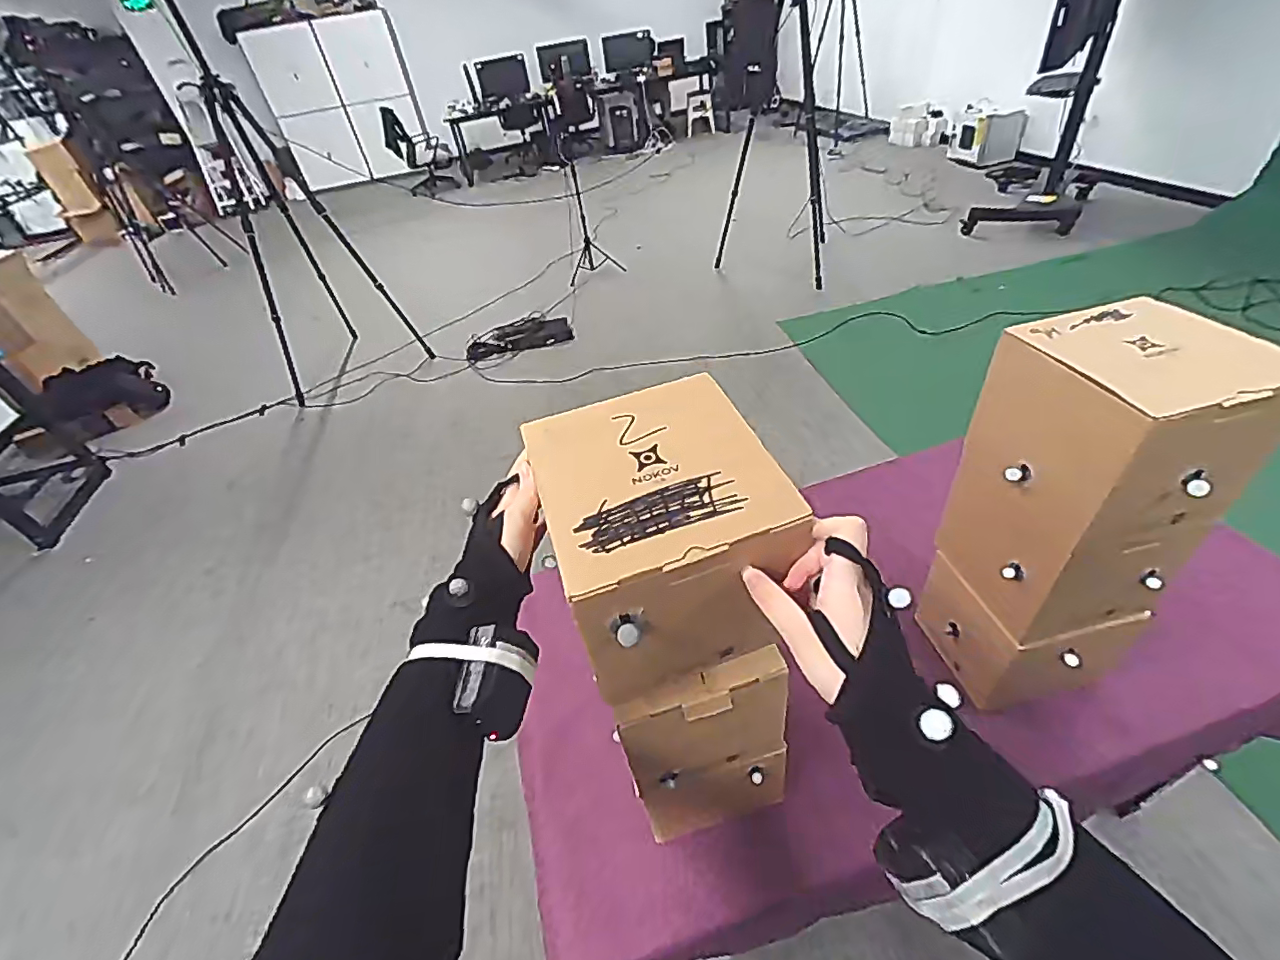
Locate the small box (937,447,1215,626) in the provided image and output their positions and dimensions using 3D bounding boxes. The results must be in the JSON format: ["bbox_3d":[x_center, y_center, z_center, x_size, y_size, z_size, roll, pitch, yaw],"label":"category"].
[{"bbox_3d":[0.498,0.055,0.655,0.168,0.176,0.179,-13,41,-2],"label":"small box"}]

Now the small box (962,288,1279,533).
[{"bbox_3d":[0.469,-0.065,0.546,0.168,0.176,0.179,-14,42,-3],"label":"small box"}]

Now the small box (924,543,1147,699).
[{"bbox_3d":[0.525,0.181,0.756,0.179,0.176,0.168,-14,42,-2],"label":"small box"}]

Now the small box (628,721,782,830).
[{"bbox_3d":[0.072,0.324,0.707,0.179,0.176,0.168,-16,41,-6],"label":"small box"}]

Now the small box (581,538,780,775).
[{"bbox_3d":[0.045,0.200,0.602,0.168,0.176,0.179,-16,40,-6],"label":"small box"}]
